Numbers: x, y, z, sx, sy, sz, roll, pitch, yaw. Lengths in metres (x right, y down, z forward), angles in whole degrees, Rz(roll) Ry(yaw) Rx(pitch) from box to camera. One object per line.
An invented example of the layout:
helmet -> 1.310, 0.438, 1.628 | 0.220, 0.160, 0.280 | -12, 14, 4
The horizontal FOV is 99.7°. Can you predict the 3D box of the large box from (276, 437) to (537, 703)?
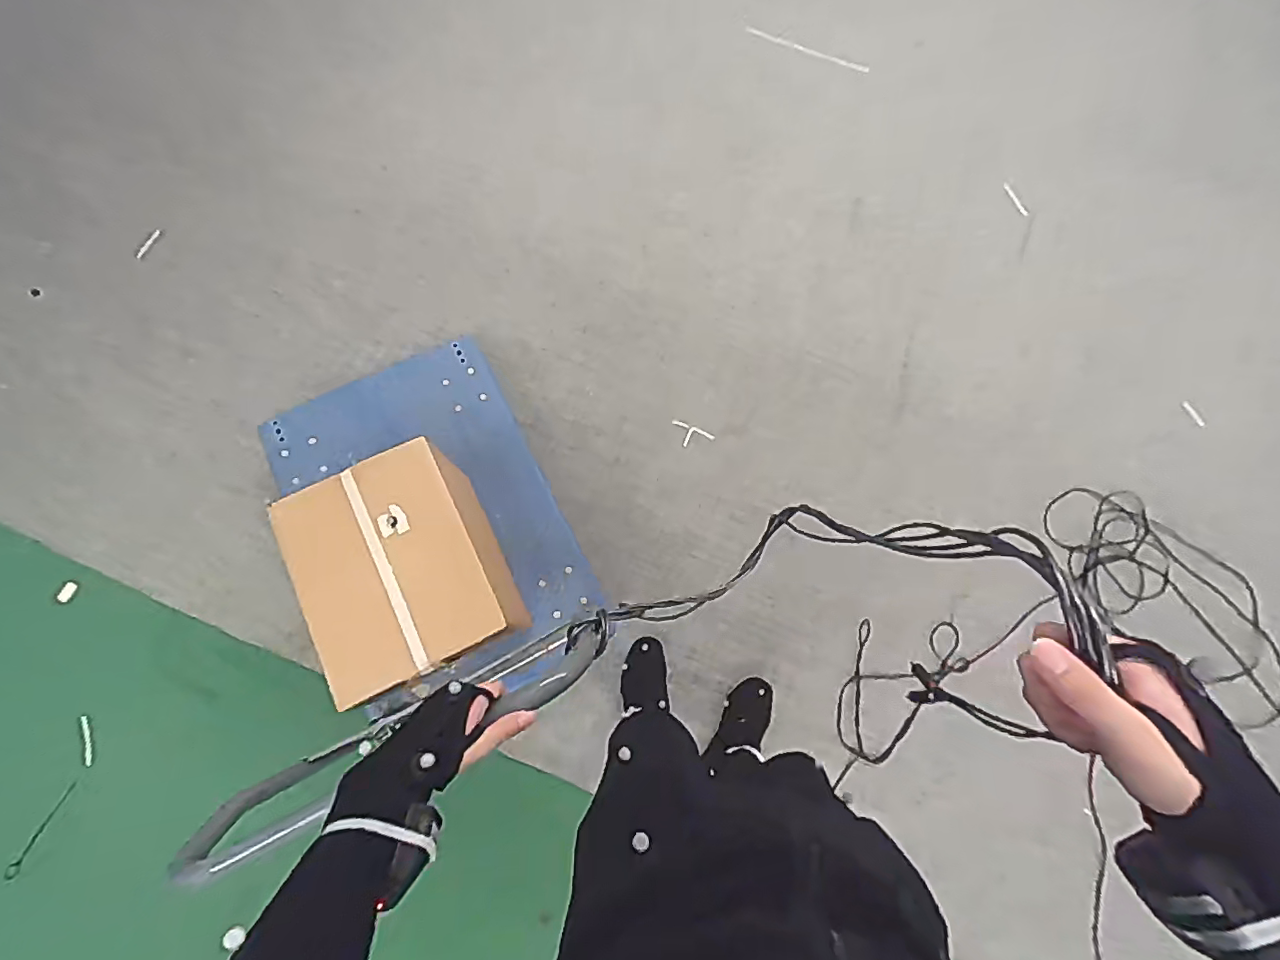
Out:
large box -> -0.458, 0.188, 1.132 | 0.320, 0.320, 0.408 | -26, 77, -9
